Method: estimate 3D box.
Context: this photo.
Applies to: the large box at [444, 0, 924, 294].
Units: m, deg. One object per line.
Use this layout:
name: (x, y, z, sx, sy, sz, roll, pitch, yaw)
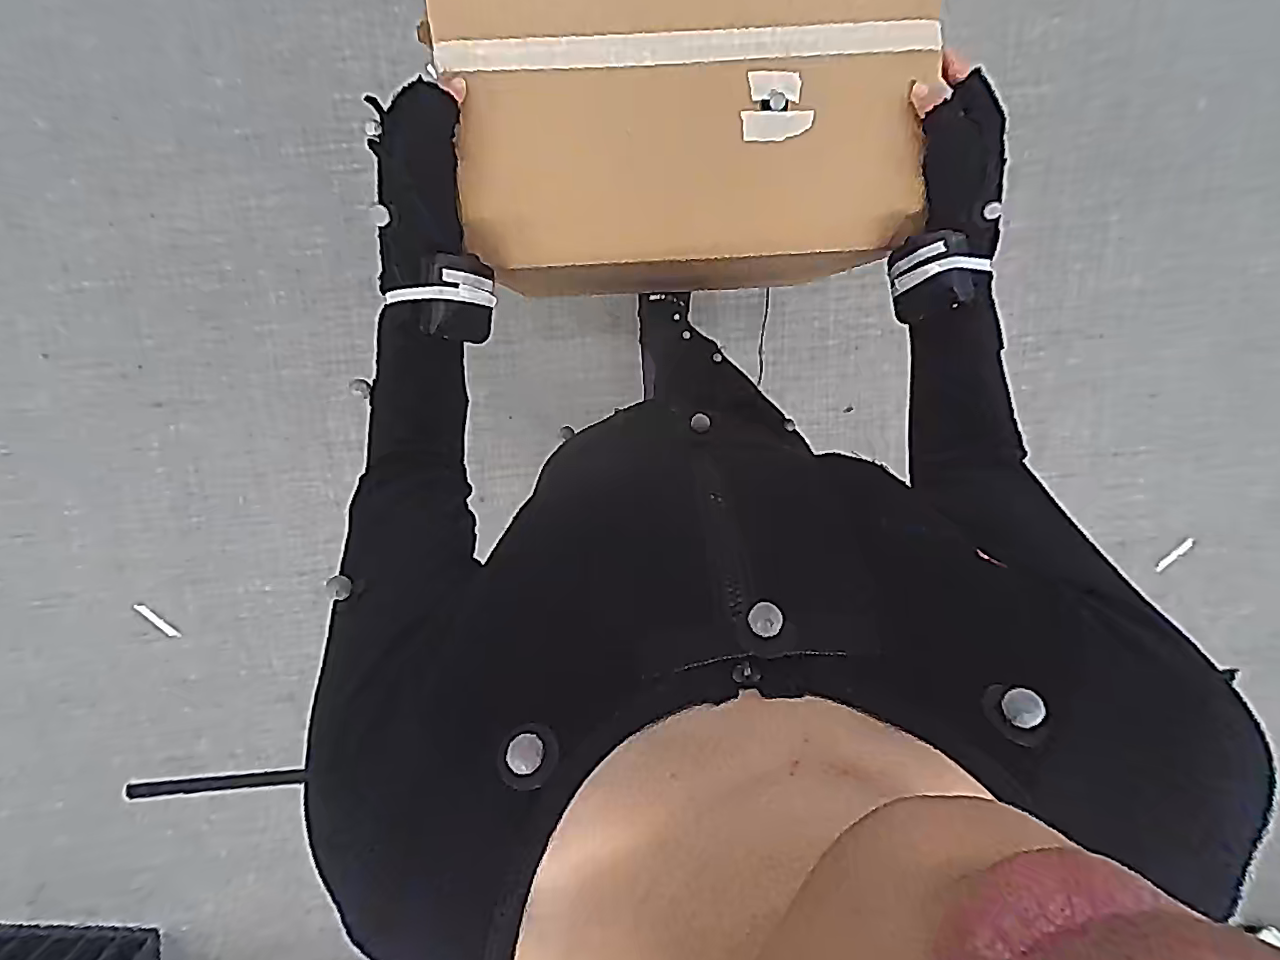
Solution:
large box: (0.032, -0.394, 0.598, 0.408, 0.320, 0.320, -4, 105, -2)
